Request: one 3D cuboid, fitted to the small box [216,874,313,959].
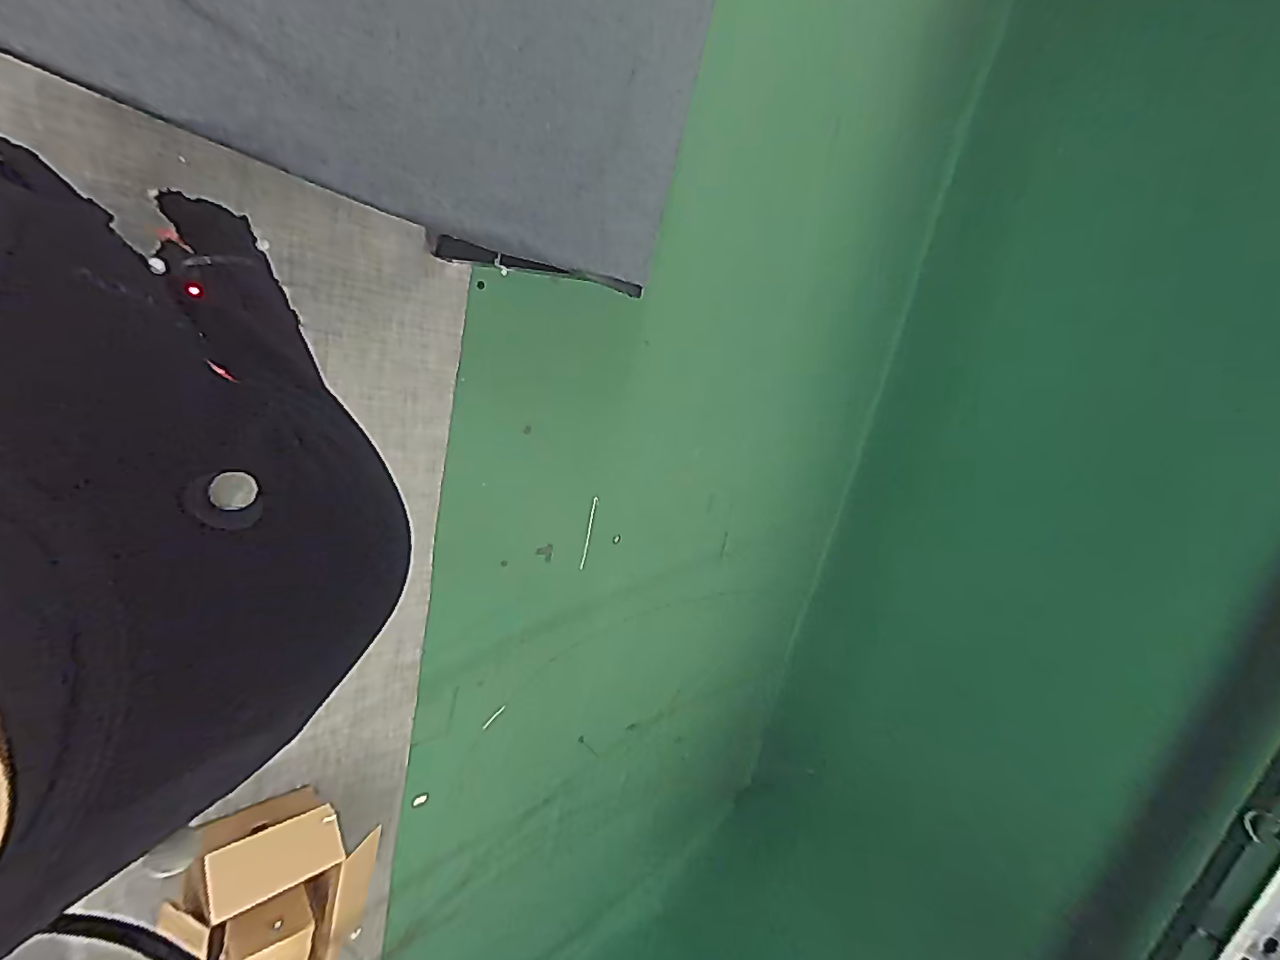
[{"bbox_3d":[-1.004,1.213,1.440,0.179,0.176,0.168,3,107,-48],"label":"small box"}]
